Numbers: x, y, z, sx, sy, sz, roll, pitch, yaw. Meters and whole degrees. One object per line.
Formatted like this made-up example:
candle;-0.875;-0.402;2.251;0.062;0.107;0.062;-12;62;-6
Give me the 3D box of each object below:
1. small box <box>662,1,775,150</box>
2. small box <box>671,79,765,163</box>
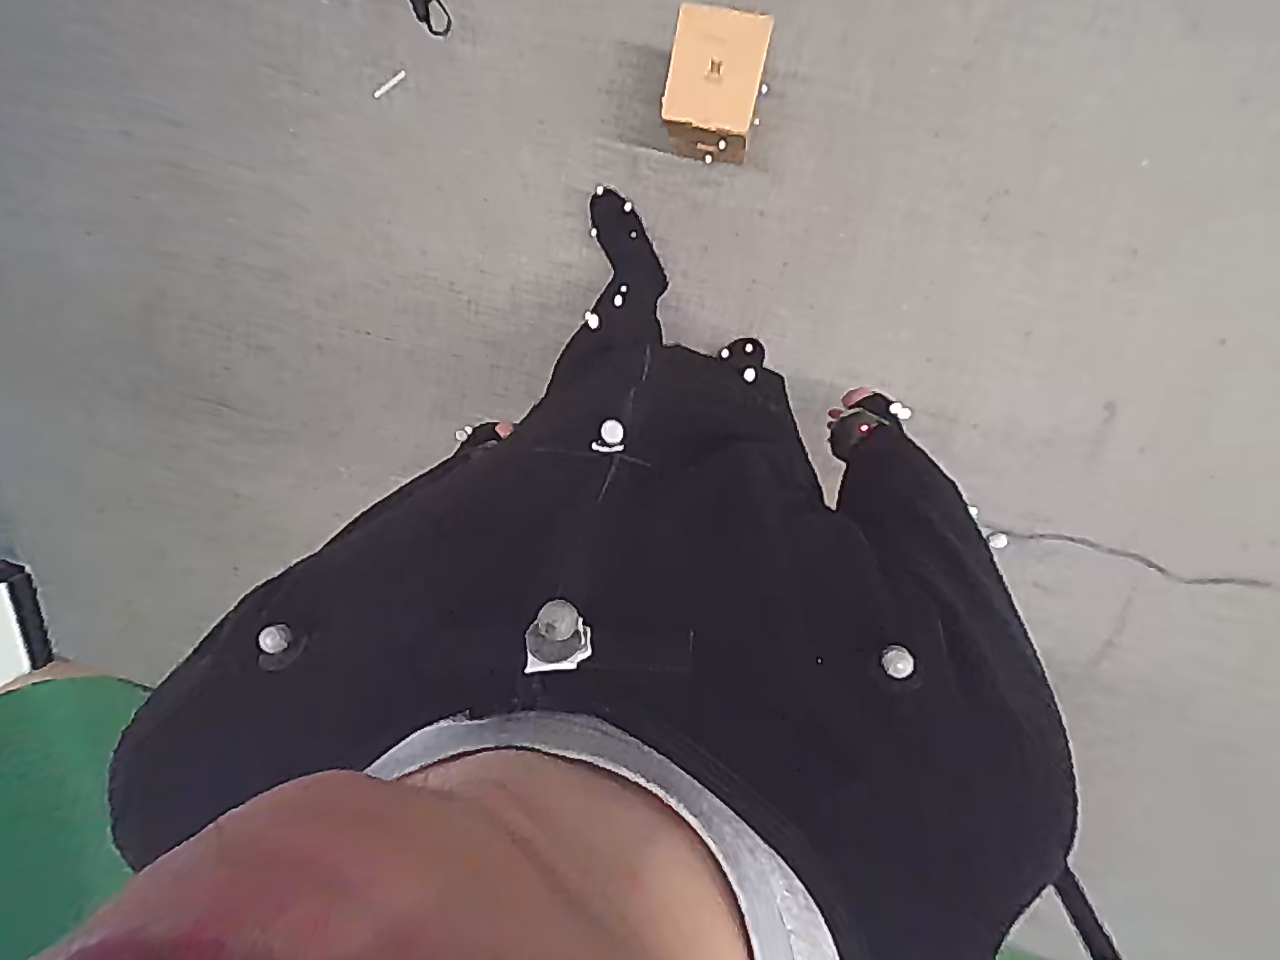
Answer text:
small box;0.146;-0.745;1.017;0.168;0.176;0.179;13;111;4
small box;0.171;-0.802;1.166;0.168;0.176;0.179;13;113;4
